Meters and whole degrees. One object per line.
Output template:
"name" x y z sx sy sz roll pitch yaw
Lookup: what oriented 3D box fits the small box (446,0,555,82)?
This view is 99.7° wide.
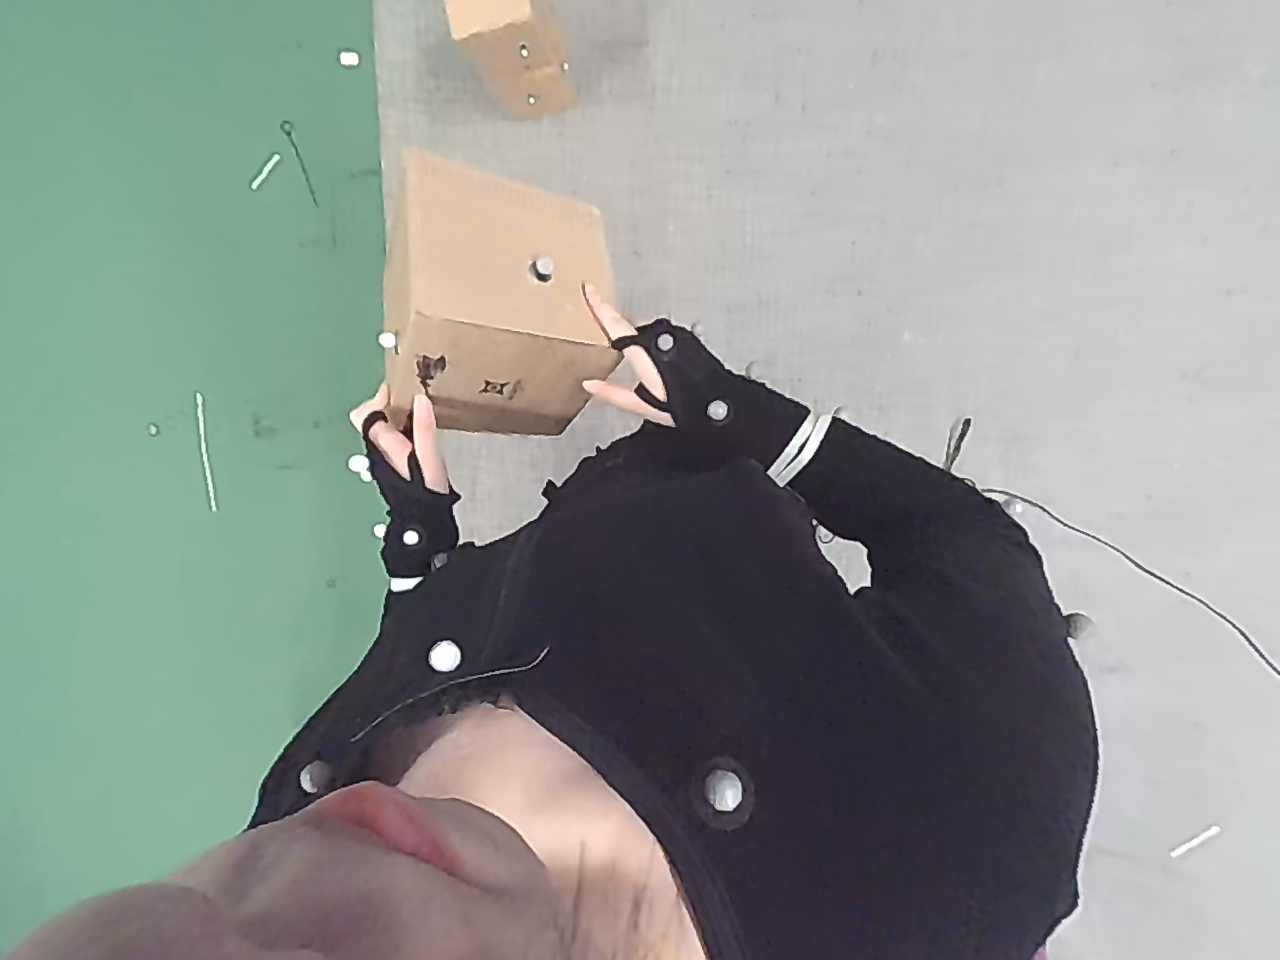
"small box" -0.286 -0.961 1.113 0.168 0.176 0.179 -8 98 9

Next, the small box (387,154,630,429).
"small box" -0.134 -0.164 0.512 0.179 0.168 0.176 2 66 -31
